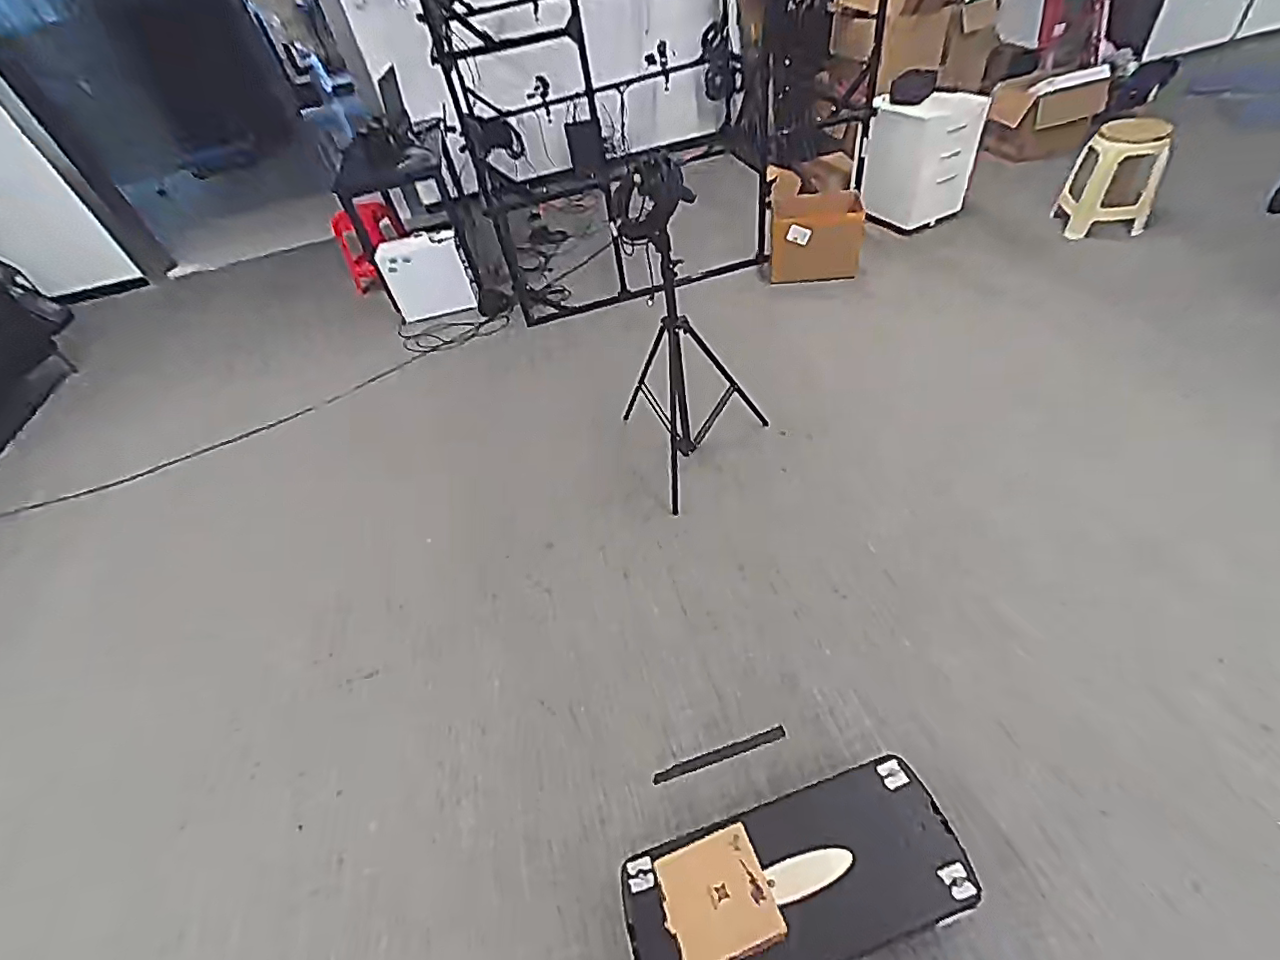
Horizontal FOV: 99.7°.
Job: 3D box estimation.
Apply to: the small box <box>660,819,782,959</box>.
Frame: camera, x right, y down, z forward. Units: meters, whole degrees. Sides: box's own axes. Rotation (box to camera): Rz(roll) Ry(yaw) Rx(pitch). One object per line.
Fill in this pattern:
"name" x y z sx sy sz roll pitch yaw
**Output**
"small box" 0.142 0.758 0.983 0.179 0.176 0.168 -20 46 -7
